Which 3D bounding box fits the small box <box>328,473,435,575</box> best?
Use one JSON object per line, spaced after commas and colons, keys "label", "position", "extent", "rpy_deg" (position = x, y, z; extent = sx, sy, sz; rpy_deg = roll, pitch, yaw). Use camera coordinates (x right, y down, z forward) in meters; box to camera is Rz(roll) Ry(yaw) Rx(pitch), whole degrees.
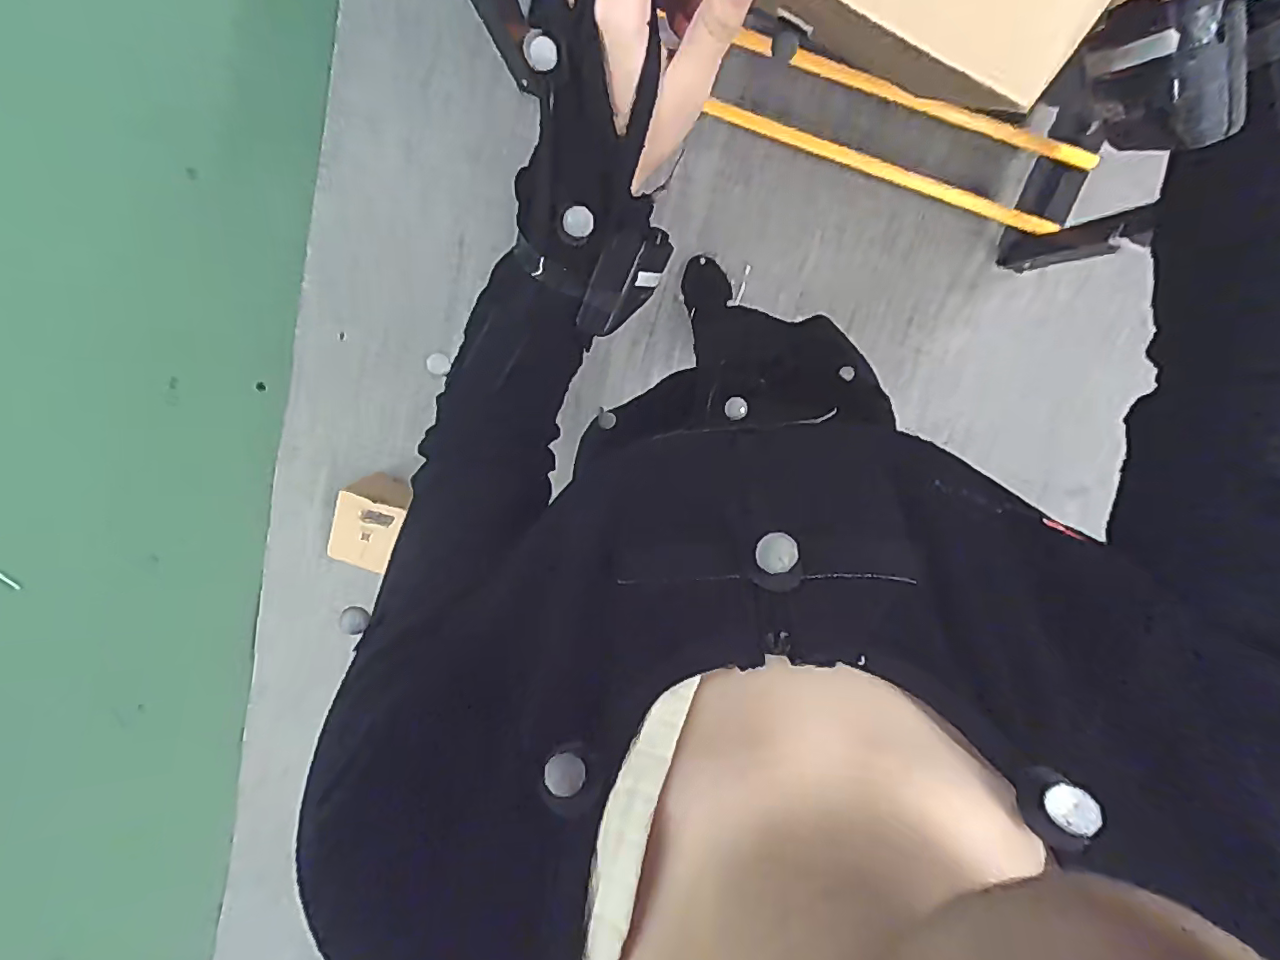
{"label": "small box", "position": [-0.624, 0.100, 1.326], "extent": [0.168, 0.176, 0.179], "rpy_deg": [19, 105, -3]}
